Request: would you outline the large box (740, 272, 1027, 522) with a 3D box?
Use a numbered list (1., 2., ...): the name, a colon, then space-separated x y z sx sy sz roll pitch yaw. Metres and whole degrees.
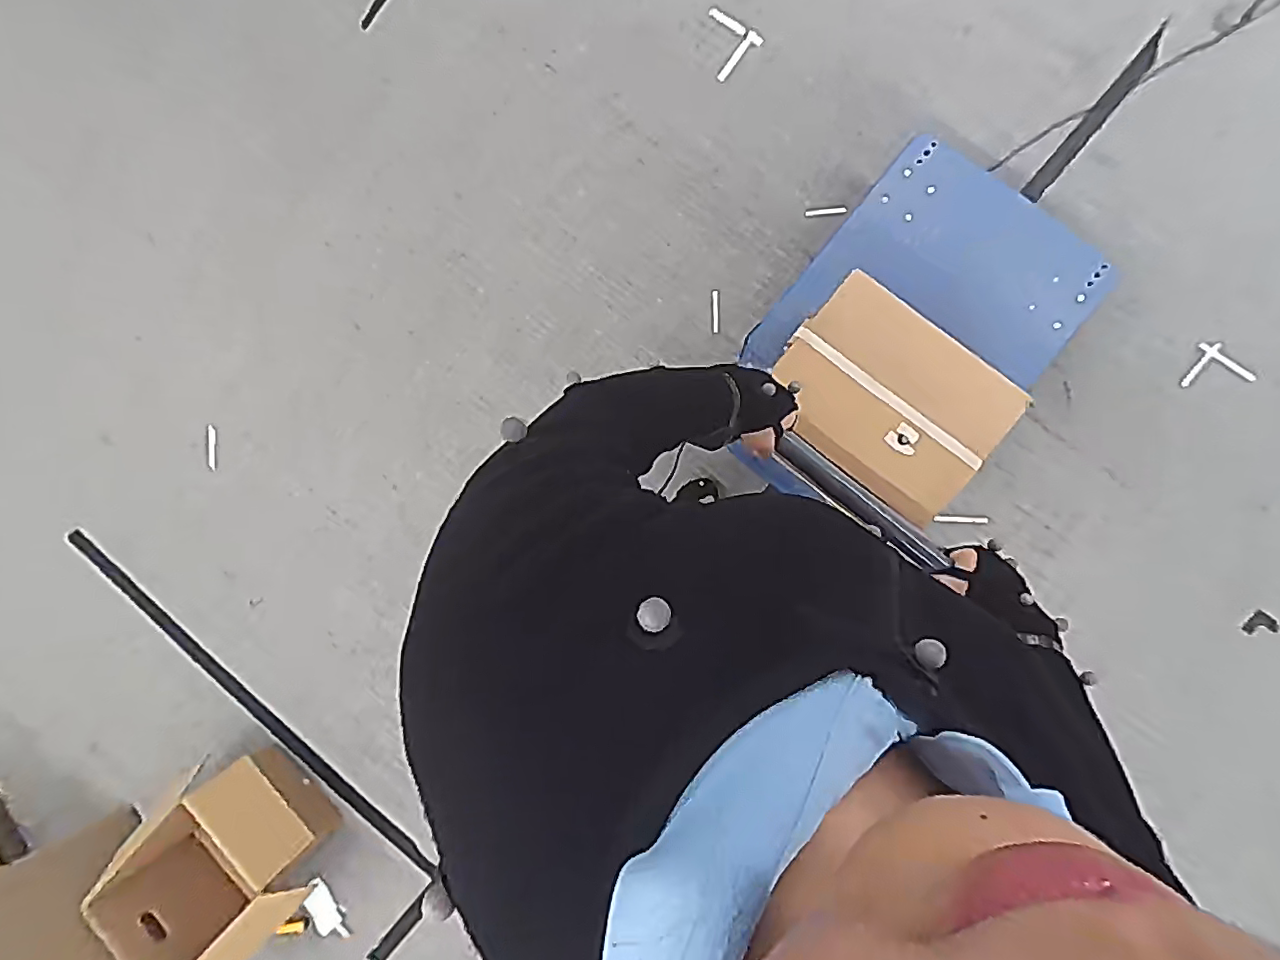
1. large box: 0.476 -0.157 1.160 0.408 0.320 0.320 39 94 4
